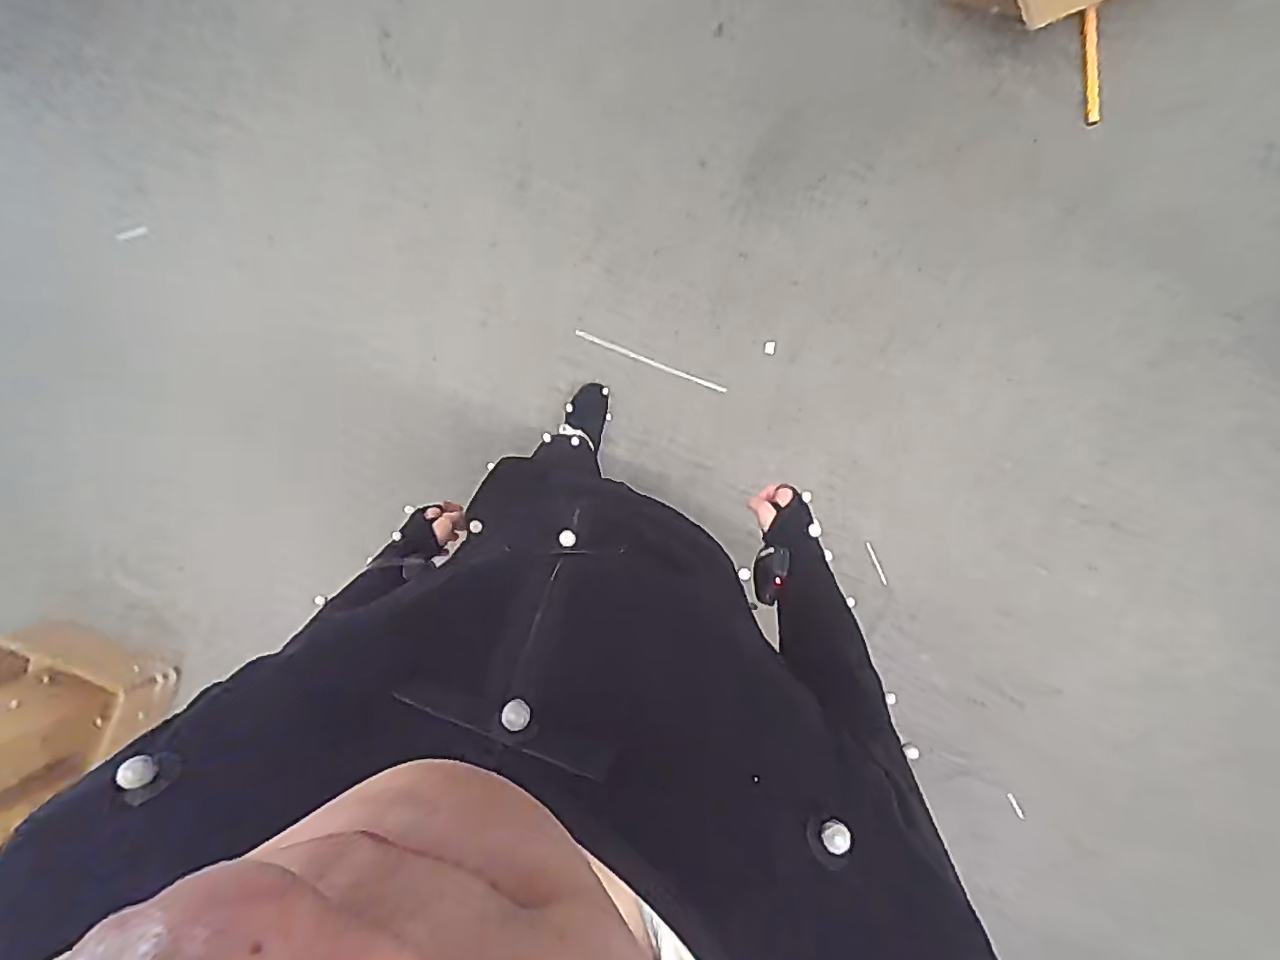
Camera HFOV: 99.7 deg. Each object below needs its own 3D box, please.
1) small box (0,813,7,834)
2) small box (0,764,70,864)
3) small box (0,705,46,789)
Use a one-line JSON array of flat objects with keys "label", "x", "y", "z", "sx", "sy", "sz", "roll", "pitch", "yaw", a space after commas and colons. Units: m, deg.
[{"label": "small box", "x": -1.748, "y": 0.916, "z": 1.328, "sx": 0.179, "sy": 0.176, "sz": 0.168, "roll": 22, "pitch": 91, "yaw": -2}, {"label": "small box", "x": -1.754, "y": 0.914, "z": 1.489, "sx": 0.179, "sy": 0.176, "sz": 0.168, "roll": 23, "pitch": 91, "yaw": -2}, {"label": "small box", "x": -1.643, "y": 0.674, "z": 1.321, "sx": 0.179, "sy": 0.176, "sz": 0.168, "roll": 23, "pitch": 94, "yaw": -2}]
